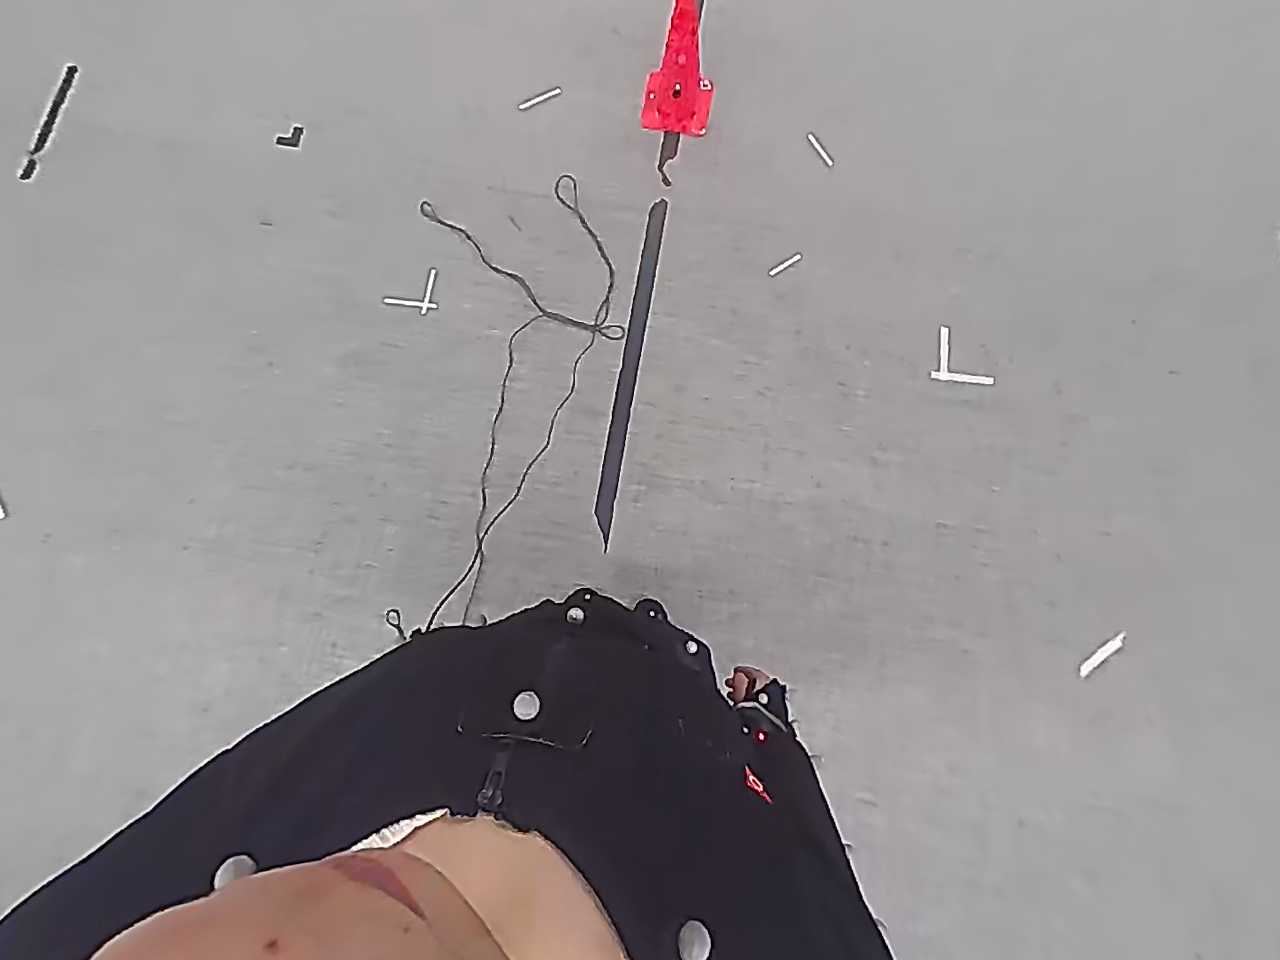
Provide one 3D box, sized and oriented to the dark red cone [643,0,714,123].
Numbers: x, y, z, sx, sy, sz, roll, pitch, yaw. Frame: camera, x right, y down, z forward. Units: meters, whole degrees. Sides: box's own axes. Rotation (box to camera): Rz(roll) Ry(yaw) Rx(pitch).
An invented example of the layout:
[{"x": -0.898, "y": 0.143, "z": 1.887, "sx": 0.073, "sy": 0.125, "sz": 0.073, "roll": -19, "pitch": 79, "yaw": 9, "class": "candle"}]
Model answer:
[{"x": 0.112, "y": -1.179, "z": 1.437, "sx": 0.201, "sy": 0.394, "sz": 0.202, "roll": 8, "pitch": 81, "yaw": 2, "class": "dark red cone"}]
